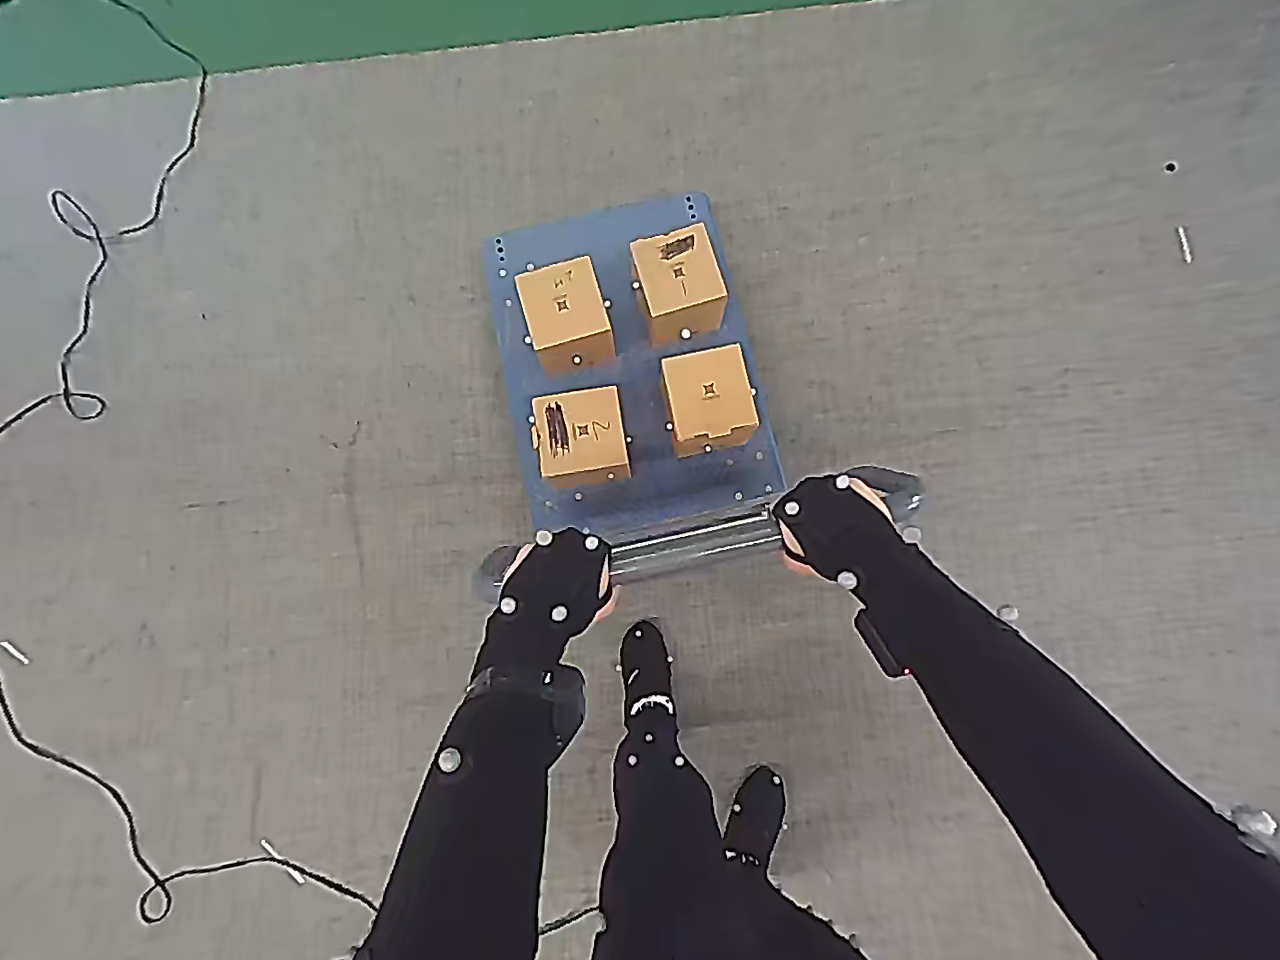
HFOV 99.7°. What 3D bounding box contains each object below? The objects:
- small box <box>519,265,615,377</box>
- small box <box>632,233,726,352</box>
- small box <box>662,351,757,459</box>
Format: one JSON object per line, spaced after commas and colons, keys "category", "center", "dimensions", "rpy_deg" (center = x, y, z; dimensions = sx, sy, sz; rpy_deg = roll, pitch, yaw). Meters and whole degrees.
{"category": "small box", "center": [-0.157, -0.347, 1.223], "dimensions": [0.168, 0.176, 0.179], "rpy_deg": [-16, 81, -2]}
{"category": "small box", "center": [0.084, -0.419, 1.228], "dimensions": [0.168, 0.176, 0.179], "rpy_deg": [-16, 82, 0]}
{"category": "small box", "center": [0.143, -0.158, 1.185], "dimensions": [0.168, 0.176, 0.179], "rpy_deg": [-12, 81, -1]}
